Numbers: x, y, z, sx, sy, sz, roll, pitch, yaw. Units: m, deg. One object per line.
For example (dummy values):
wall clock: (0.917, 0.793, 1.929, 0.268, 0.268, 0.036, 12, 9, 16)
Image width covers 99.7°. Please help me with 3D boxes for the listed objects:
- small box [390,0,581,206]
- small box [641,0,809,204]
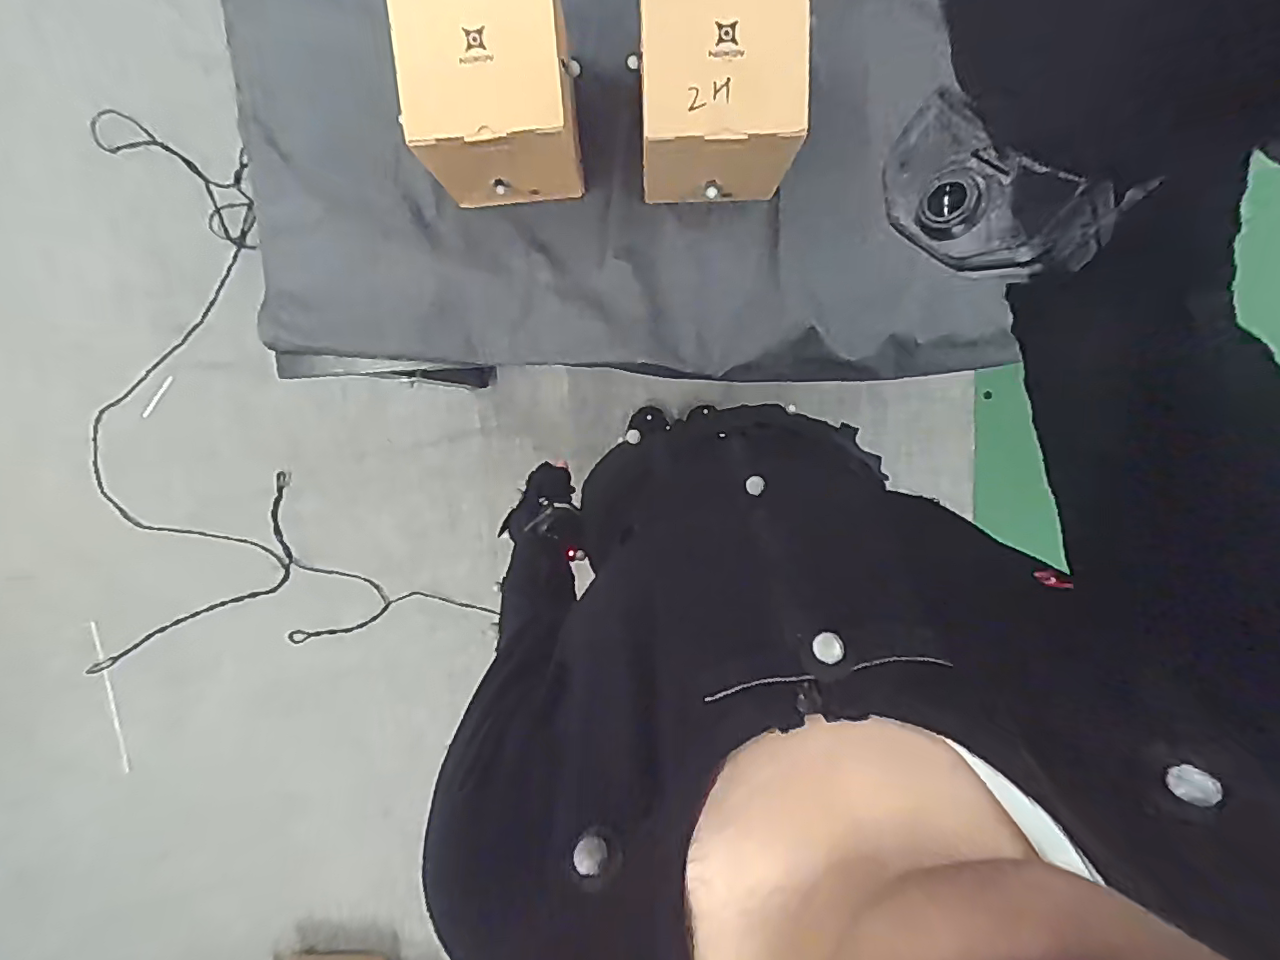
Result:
small box: (-0.163, -0.441, 0.619, 0.168, 0.176, 0.179, -5, 97, 1)
small box: (0.084, -0.438, 0.614, 0.168, 0.176, 0.179, -1, 97, 1)
